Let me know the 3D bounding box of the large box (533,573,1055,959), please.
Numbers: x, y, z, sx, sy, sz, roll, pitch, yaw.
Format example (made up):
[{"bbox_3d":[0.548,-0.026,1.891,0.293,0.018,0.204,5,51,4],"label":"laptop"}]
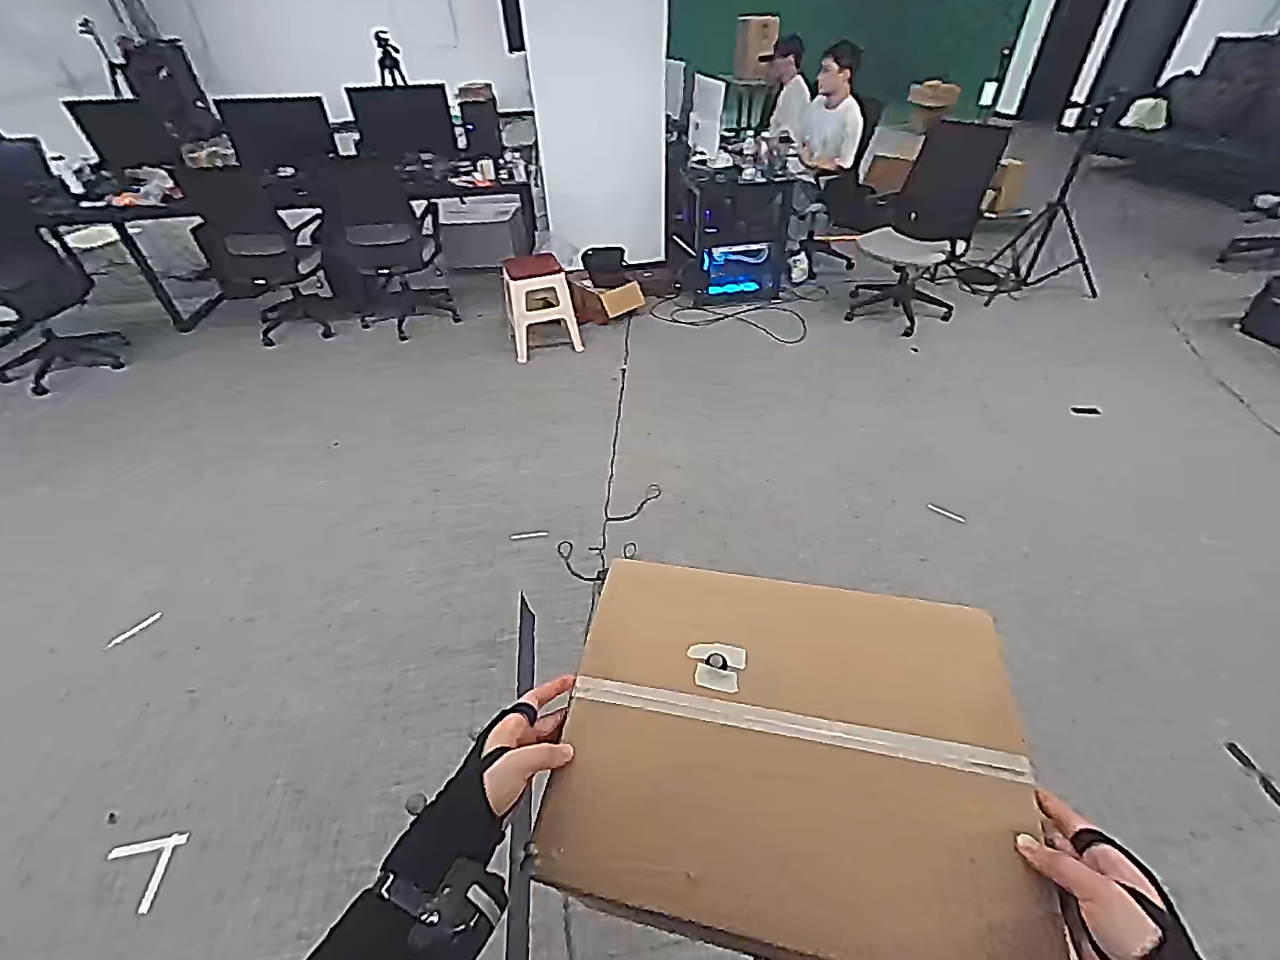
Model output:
[{"bbox_3d":[0.145,0.336,0.621,0.408,0.320,0.320,4,47,11],"label":"large box"}]
